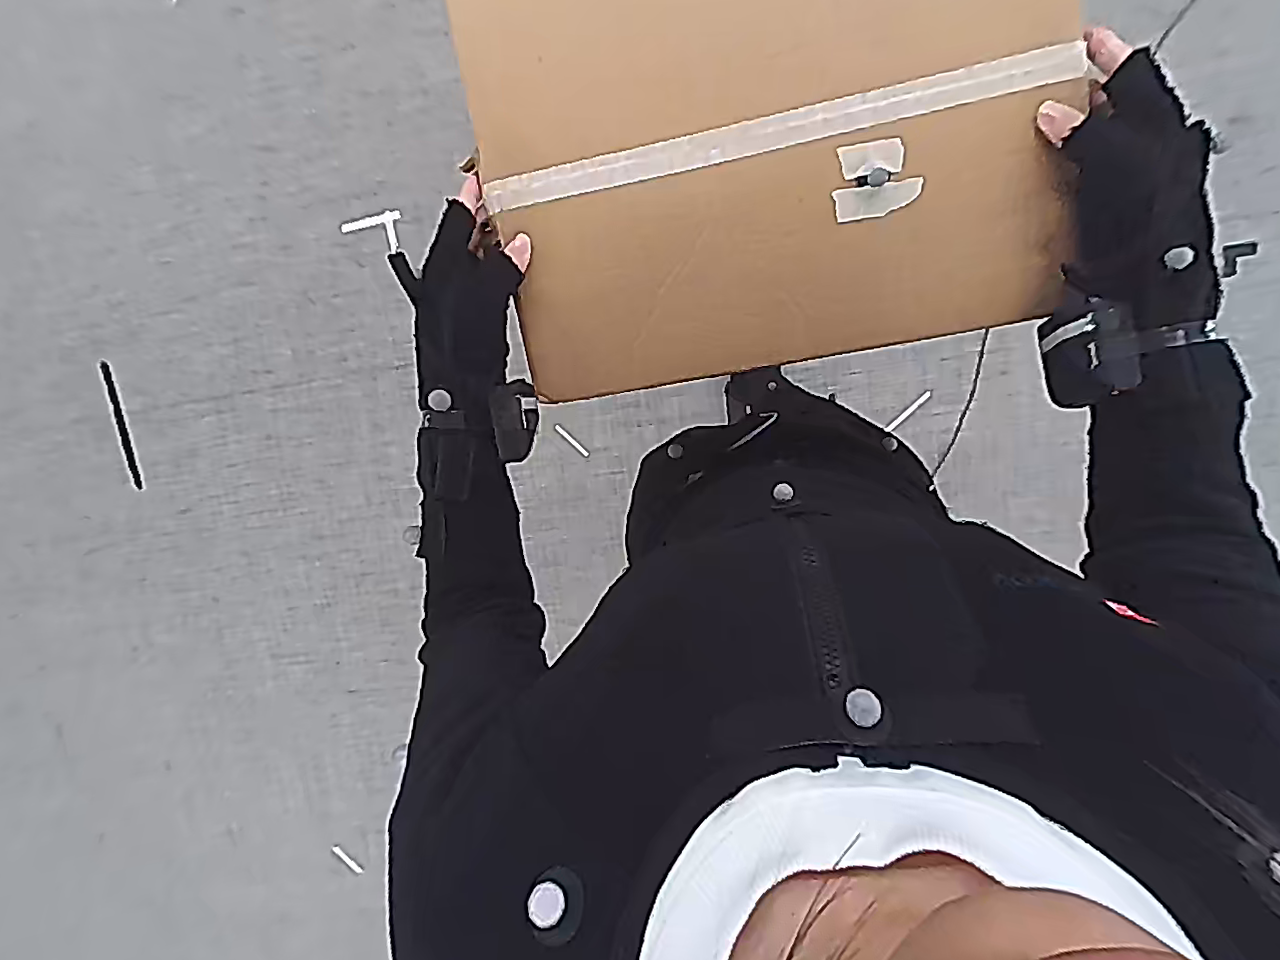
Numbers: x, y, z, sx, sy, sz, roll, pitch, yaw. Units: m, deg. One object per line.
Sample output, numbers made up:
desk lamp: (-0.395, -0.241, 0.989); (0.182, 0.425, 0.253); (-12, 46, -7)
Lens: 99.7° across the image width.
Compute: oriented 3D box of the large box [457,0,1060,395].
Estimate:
large box: (0.099, -0.283, 0.535); (0.408, 0.320, 0.320); (-9, 104, 7)
